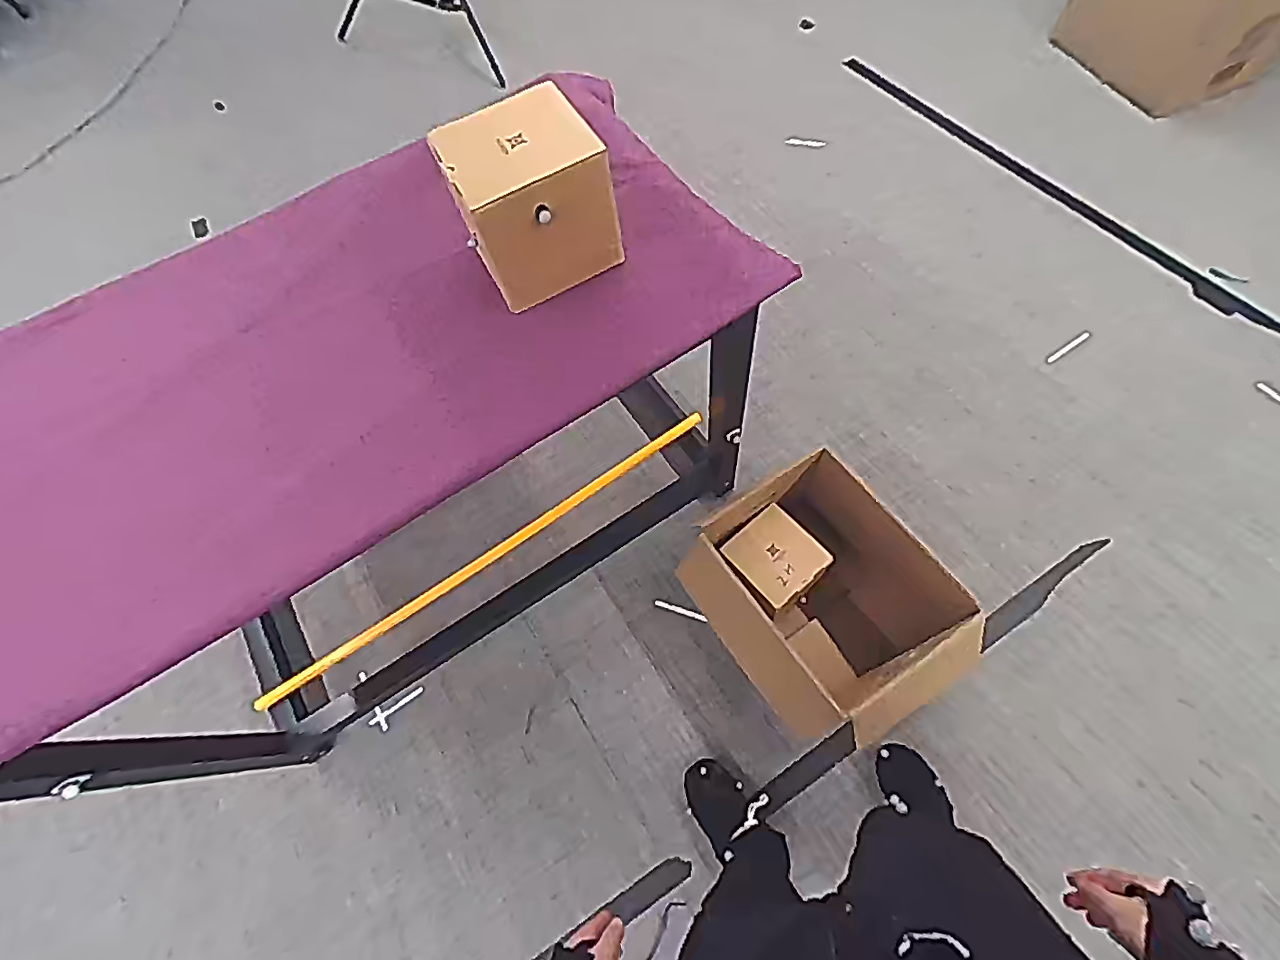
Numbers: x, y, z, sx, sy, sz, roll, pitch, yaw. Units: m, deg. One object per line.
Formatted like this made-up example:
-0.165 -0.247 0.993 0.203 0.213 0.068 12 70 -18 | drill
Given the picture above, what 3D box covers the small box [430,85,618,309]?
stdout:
-0.140 -0.366 0.717 0.179 0.176 0.168 -28 66 -6 | small box
